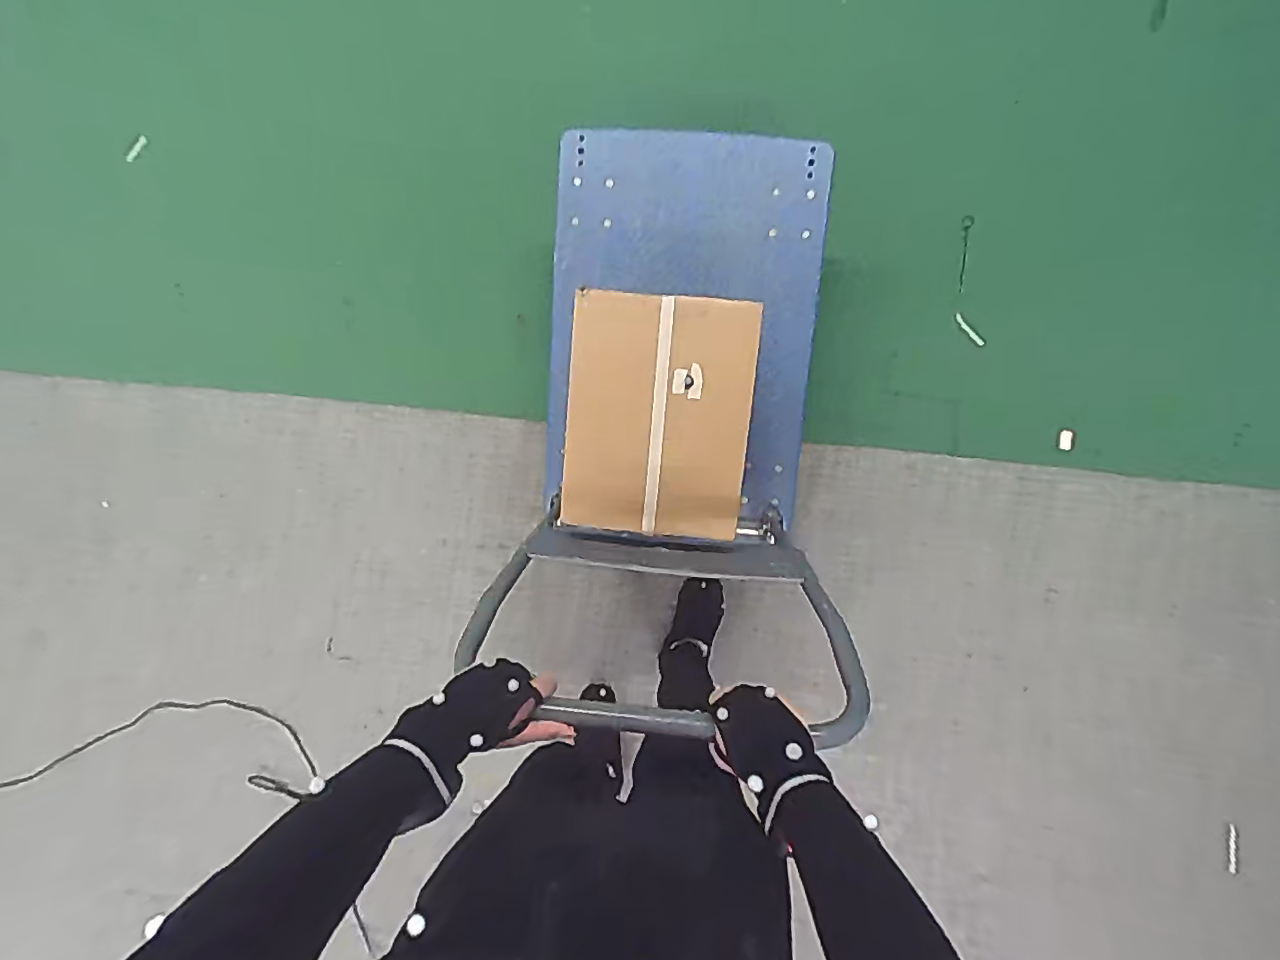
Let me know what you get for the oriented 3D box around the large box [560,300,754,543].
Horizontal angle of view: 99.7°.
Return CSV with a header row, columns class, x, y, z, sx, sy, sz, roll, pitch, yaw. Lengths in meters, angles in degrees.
class,x,y,z,sx,sy,sz,roll,pitch,yaw
large box,0.034,-0.115,1.080,0.320,0.320,0.408,6,99,2
